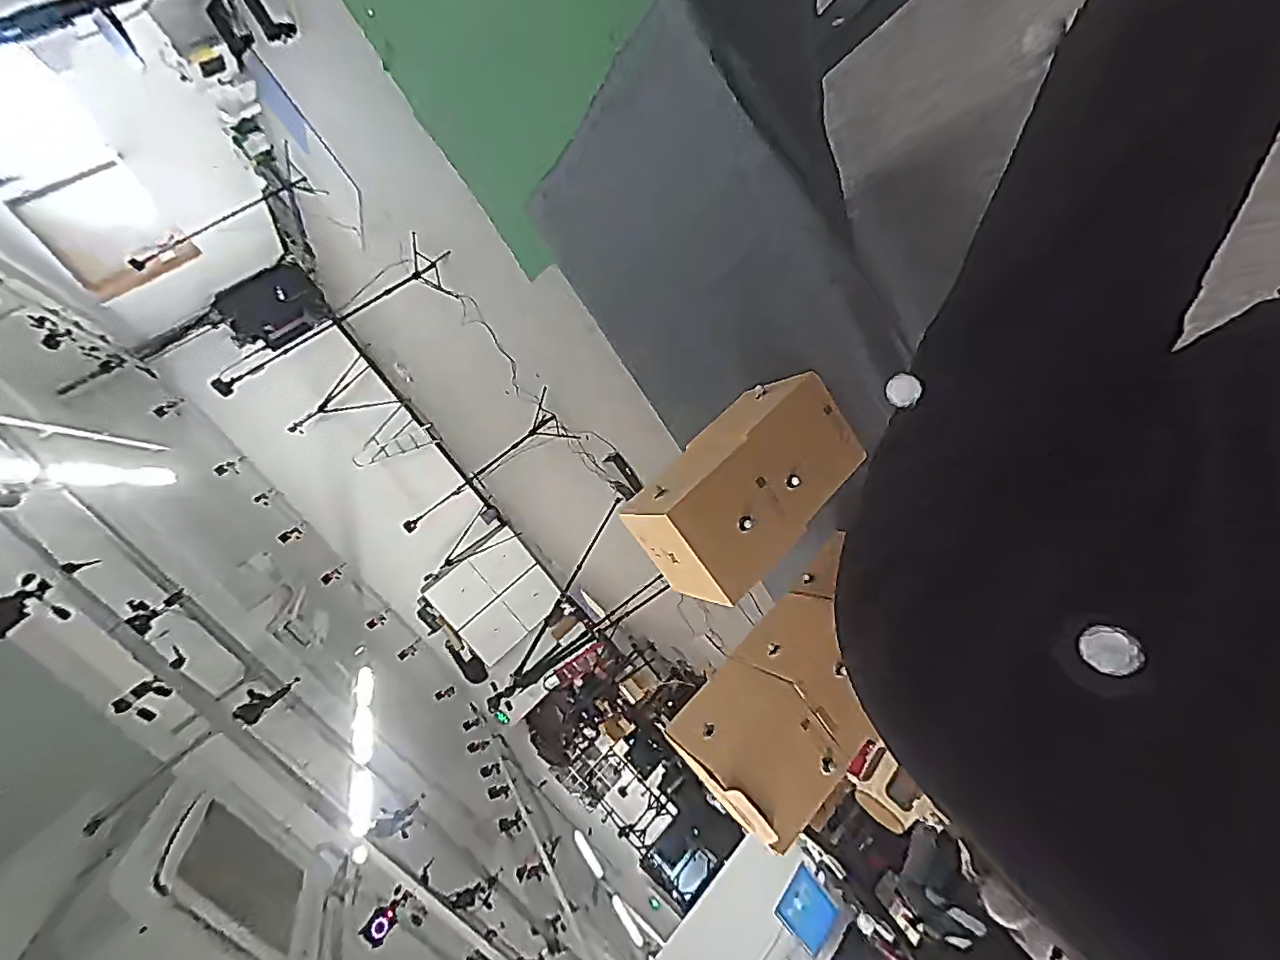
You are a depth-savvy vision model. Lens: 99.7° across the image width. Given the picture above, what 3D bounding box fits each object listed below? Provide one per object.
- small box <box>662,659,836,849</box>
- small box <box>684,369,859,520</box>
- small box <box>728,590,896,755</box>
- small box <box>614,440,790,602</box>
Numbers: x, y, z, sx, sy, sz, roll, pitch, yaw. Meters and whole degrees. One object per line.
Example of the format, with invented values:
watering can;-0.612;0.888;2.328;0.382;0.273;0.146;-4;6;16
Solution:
small box;0.171;0.403;0.832;0.168;0.176;0.179;53;160;-9
small box;0.209;-0.055;0.870;0.168;0.176;0.179;53;160;-14
small box;0.287;0.300;0.888;0.168;0.176;0.179;53;160;-11
small box;0.098;0.055;0.811;0.168;0.176;0.179;54;158;-13
